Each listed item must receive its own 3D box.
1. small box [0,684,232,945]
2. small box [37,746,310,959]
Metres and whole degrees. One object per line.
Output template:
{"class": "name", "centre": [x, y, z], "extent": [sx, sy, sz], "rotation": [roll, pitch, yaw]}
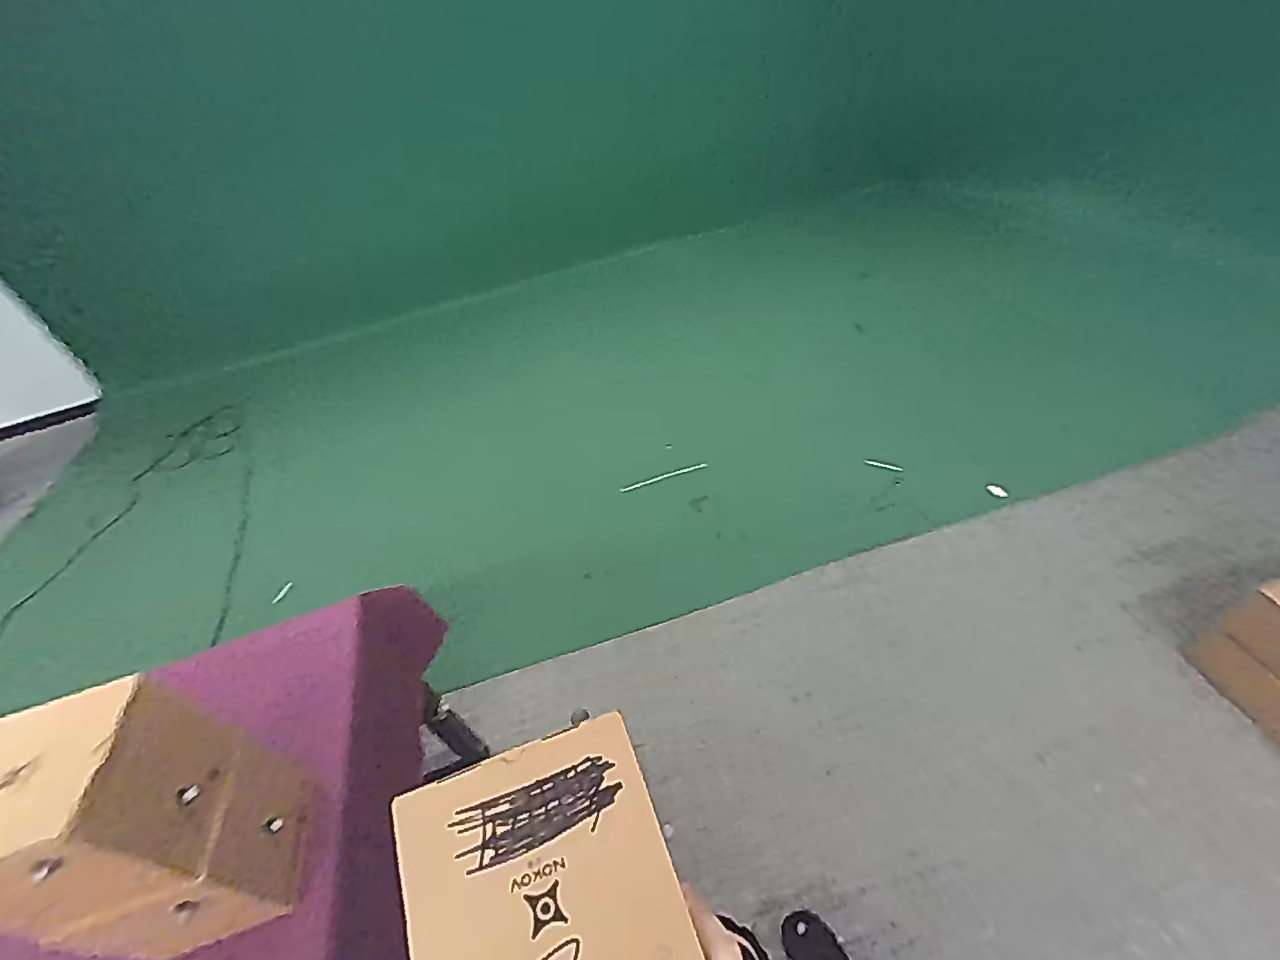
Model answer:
{"class": "small box", "centre": [-0.593, 0.356, 0.575], "extent": [0.179, 0.176, 0.168], "rotation": [-18, 42, -6]}
{"class": "small box", "centre": [-0.555, 0.474, 0.682], "extent": [0.179, 0.176, 0.168], "rotation": [-19, 42, -5]}
